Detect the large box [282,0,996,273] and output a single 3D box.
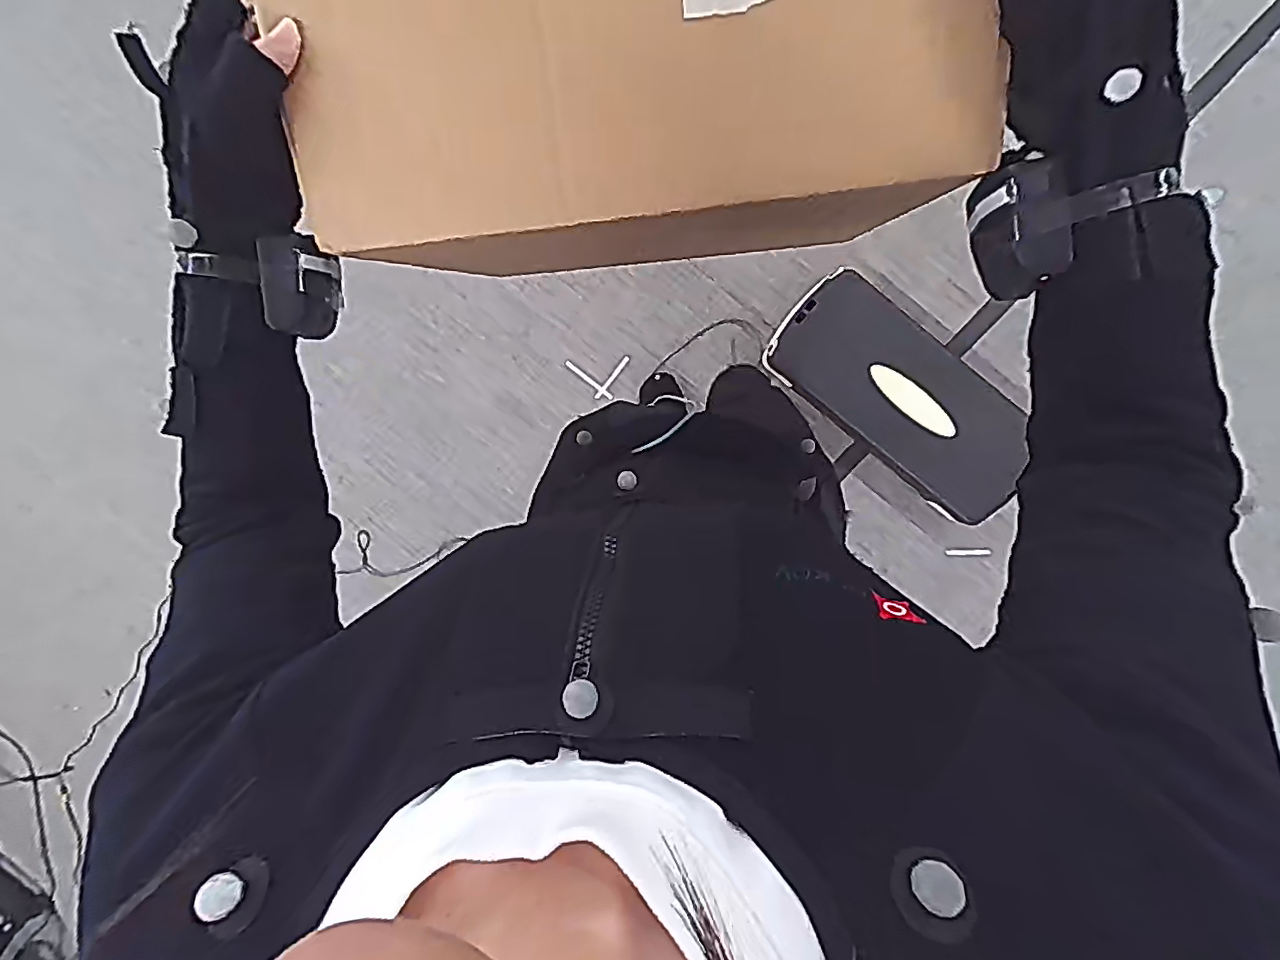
[{"bbox_3d":[-0.002,-0.359,0.428,0.408,0.320,0.320,-4,108,7],"label":"large box"}]
